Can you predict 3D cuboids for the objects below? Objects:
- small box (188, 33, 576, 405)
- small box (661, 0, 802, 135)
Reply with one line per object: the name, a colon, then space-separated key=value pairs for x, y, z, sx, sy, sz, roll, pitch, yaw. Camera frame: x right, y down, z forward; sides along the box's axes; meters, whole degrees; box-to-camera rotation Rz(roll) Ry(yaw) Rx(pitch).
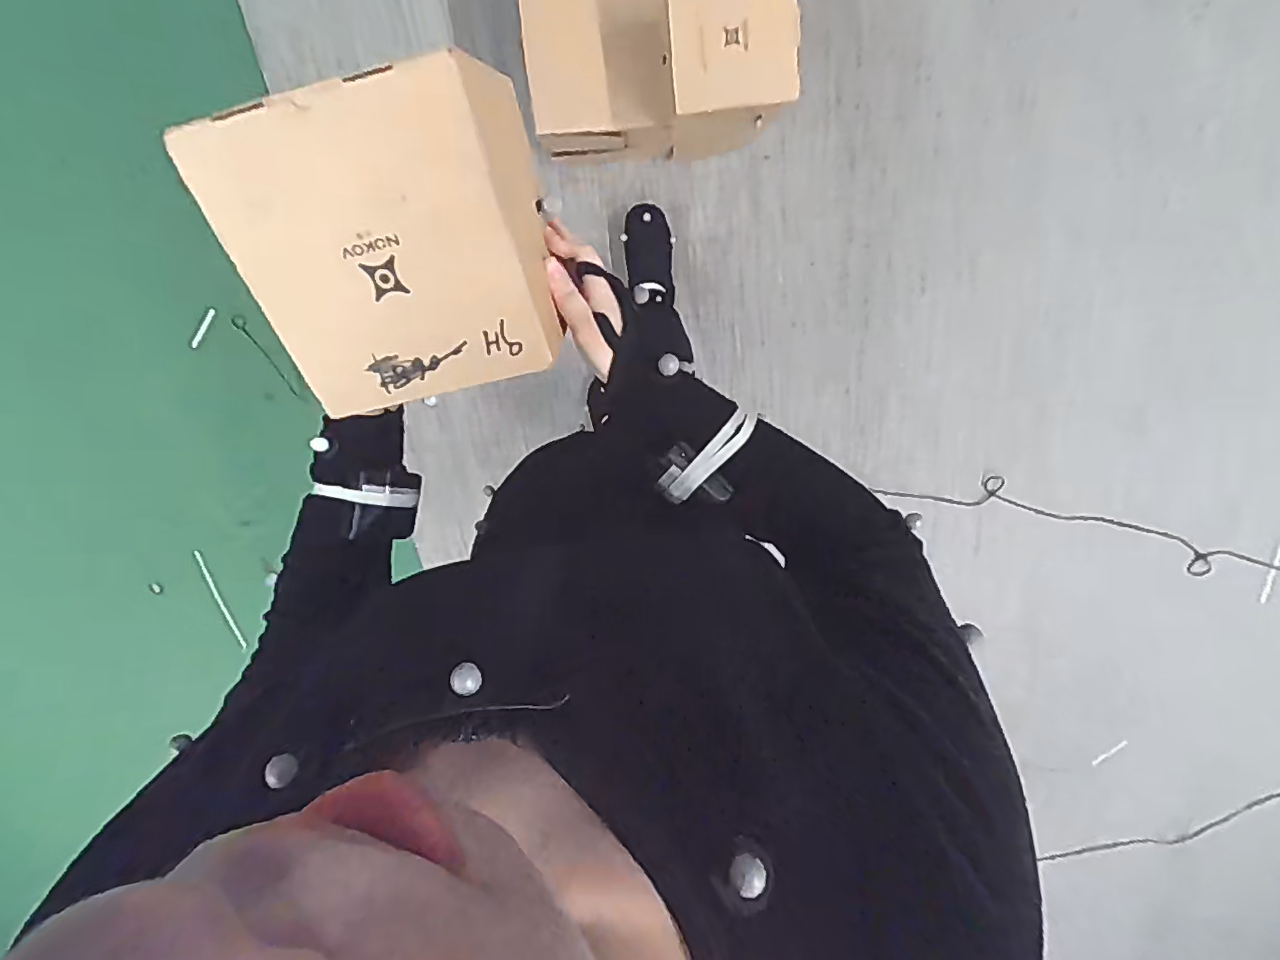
small box: x=-0.150 y=-0.180 z=0.393 sx=0.168 sy=0.176 sz=0.179 roll=-12 pitch=121 yaw=5
small box: x=0.127 y=-0.625 z=0.794 sx=0.179 sy=0.176 sz=0.168 roll=-6 pitch=112 yaw=2
